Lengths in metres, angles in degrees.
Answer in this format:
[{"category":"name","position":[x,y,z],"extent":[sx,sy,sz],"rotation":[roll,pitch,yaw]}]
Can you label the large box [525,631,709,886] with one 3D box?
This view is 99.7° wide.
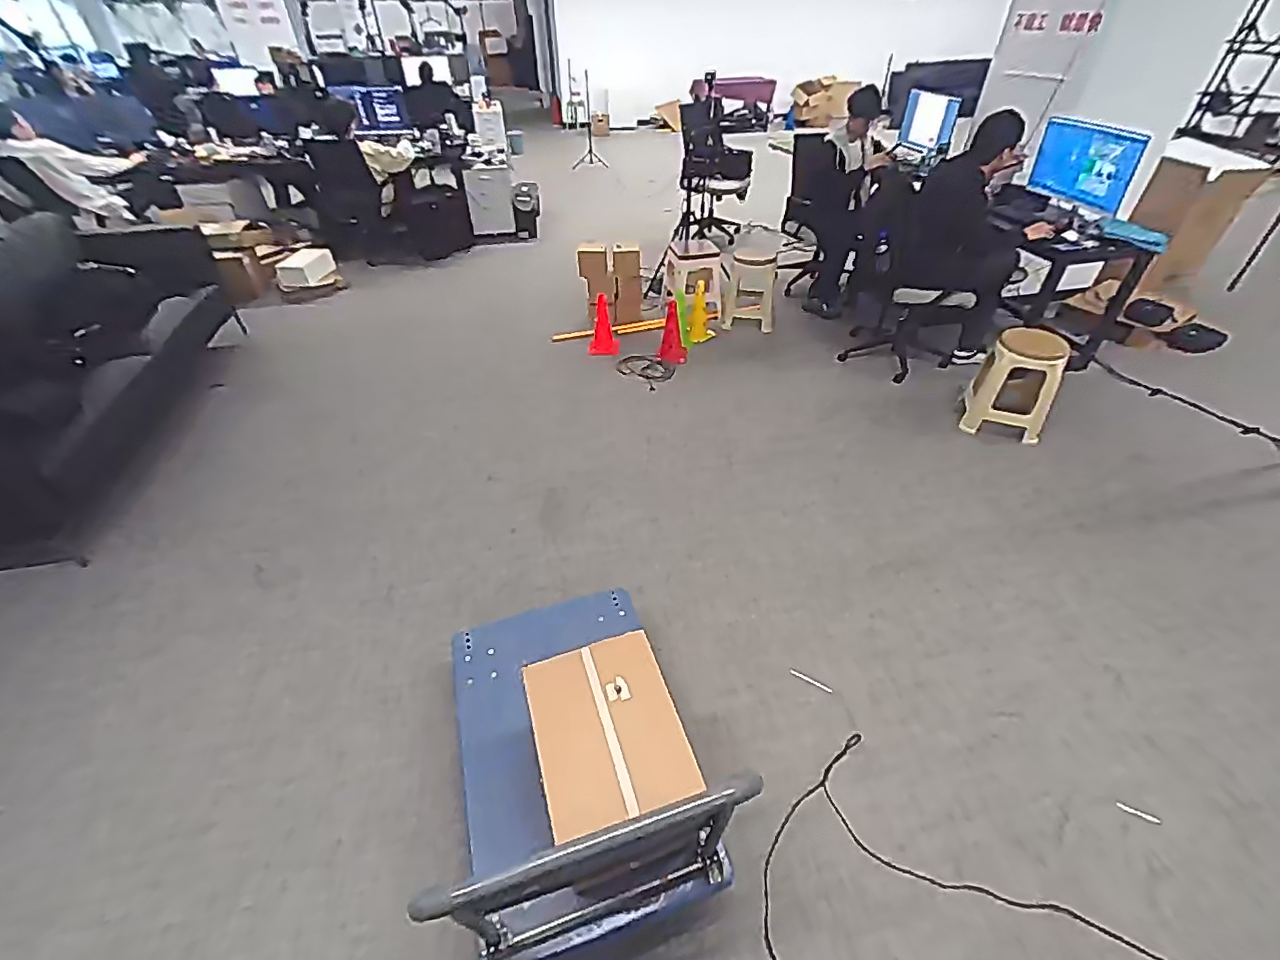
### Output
[{"category":"large box","position":[-0.061,0.650,1.292],"extent":[0.320,0.320,0.408],"rotation":[-13,43,-14]}]
